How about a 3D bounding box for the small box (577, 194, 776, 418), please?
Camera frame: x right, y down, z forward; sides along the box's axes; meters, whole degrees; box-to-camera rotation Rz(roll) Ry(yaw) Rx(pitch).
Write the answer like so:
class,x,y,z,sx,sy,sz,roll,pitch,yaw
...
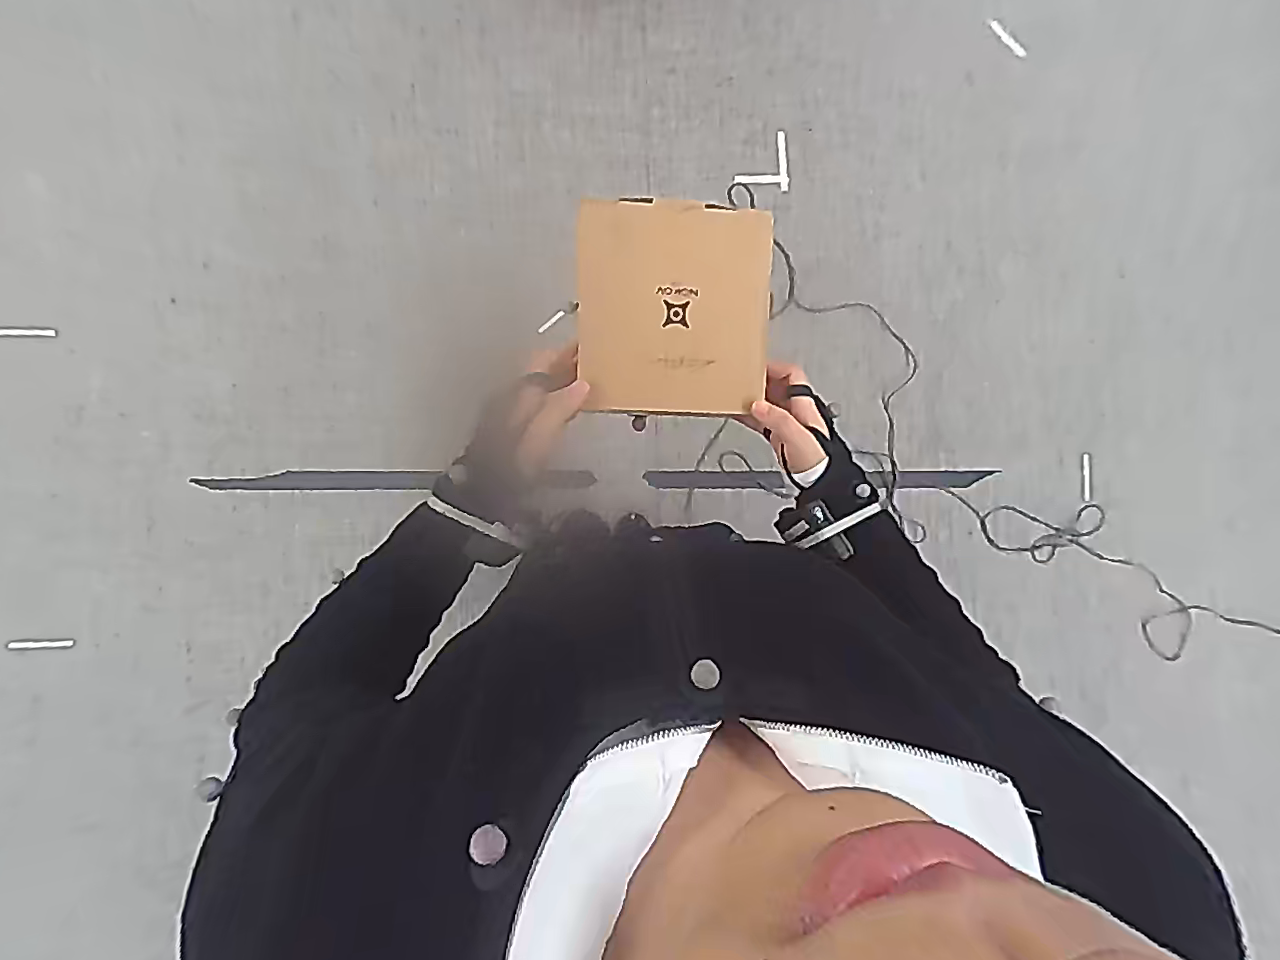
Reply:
class,x,y,z,sx,sy,sz,roll,pitch,yaw
small box,0.023,-0.153,0.536,0.168,0.176,0.179,1,96,-7
